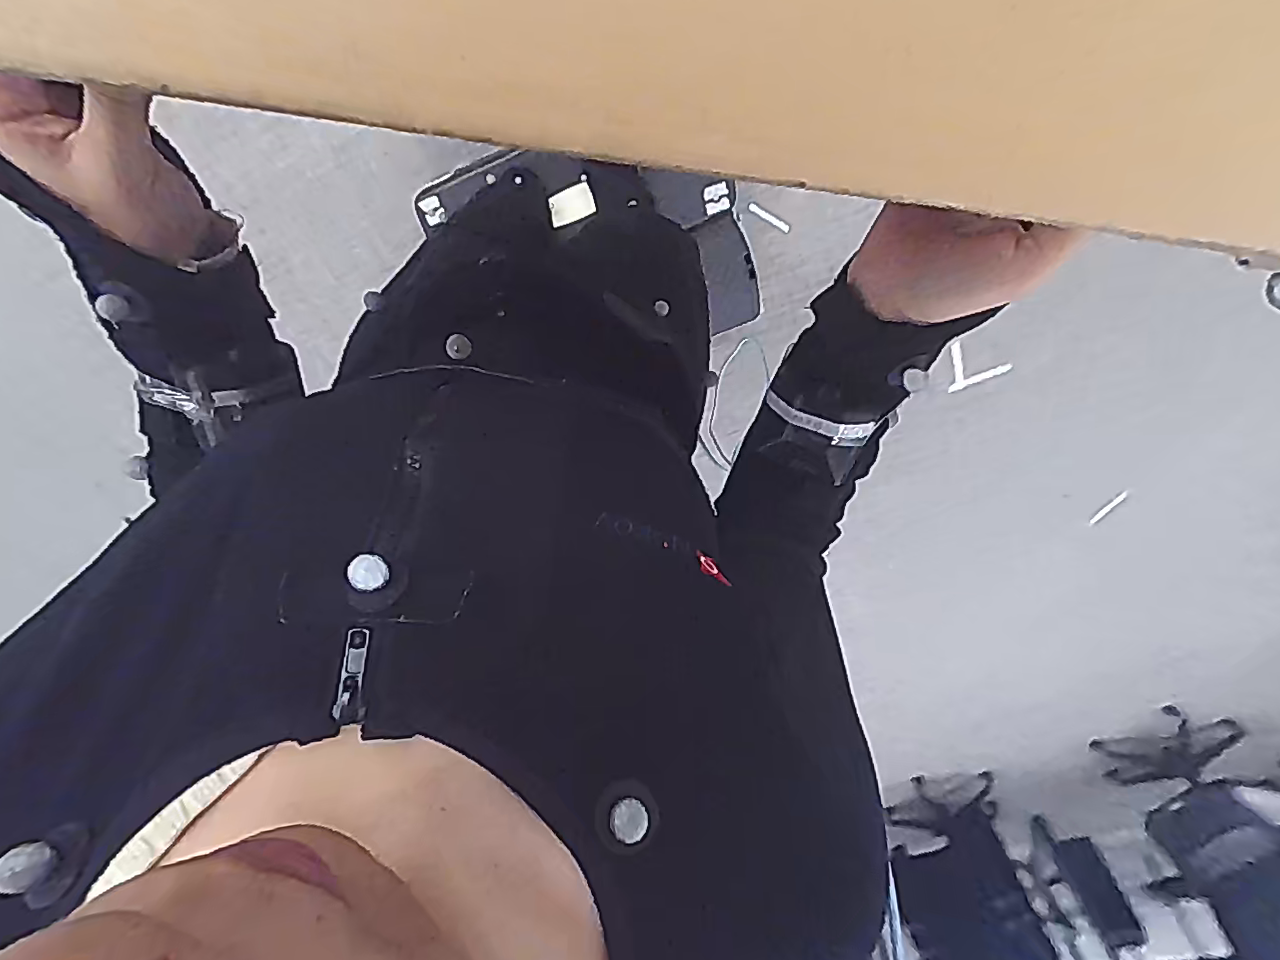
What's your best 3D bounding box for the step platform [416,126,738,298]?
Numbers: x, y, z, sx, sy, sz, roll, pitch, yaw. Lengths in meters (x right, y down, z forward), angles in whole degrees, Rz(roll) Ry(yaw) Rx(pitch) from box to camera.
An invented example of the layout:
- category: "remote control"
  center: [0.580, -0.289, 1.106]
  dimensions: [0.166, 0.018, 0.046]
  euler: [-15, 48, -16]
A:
- category: "step platform"
  center: [-0.130, -0.646, 1.198]
  dimensions: [0.684, 0.204, 0.286]
  euler: [-15, 125, 9]
